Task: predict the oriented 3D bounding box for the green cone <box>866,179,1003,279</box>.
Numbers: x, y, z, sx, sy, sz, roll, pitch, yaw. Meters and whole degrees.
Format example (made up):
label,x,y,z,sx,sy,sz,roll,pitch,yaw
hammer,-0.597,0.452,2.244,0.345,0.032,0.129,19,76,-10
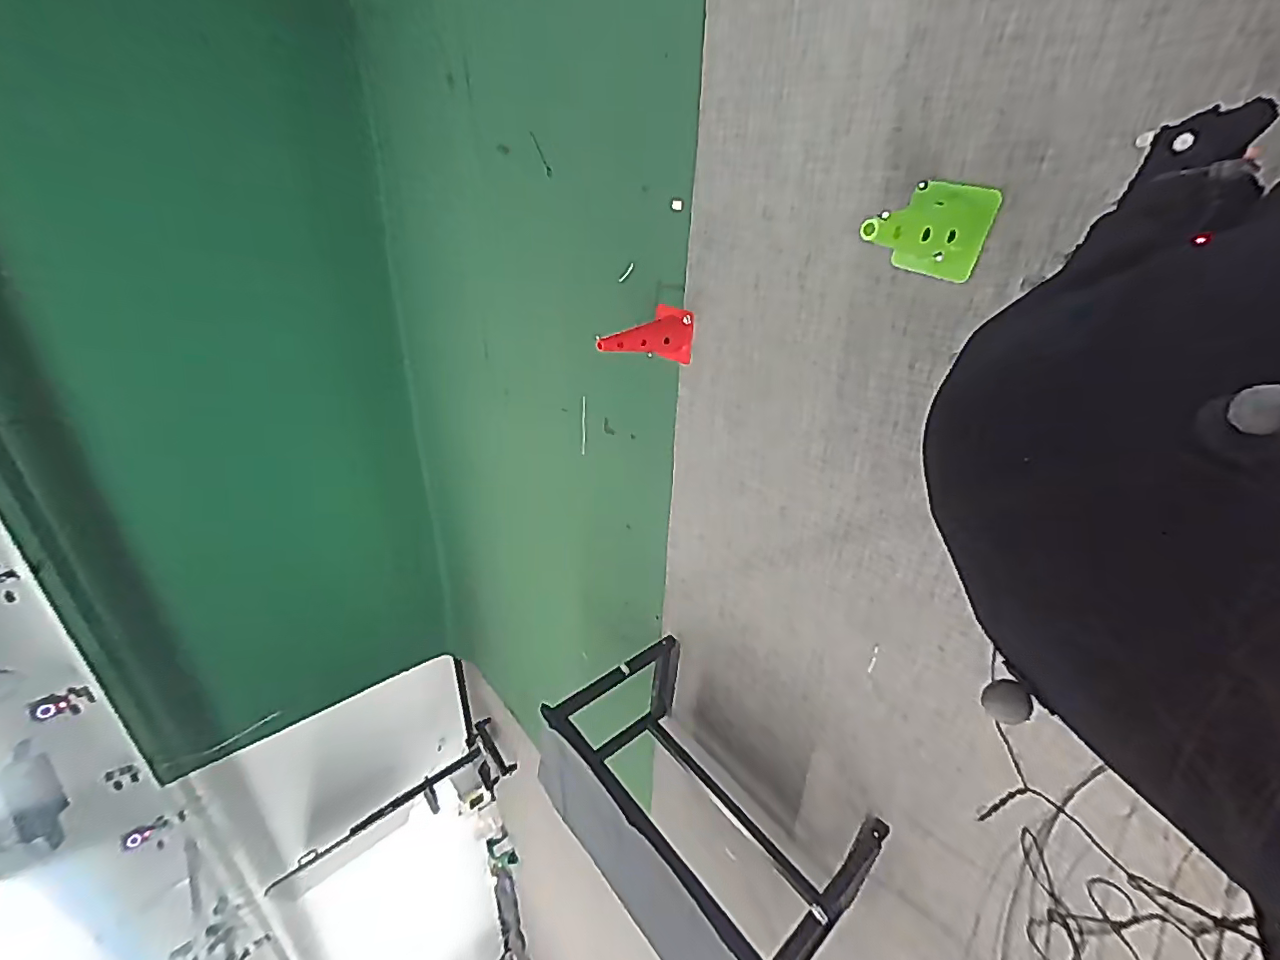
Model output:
label,x,y,z,sx,sy,sz,roll,pitch,yaw
green cone,0.605,-0.560,1.199,0.202,0.368,0.200,35,131,38
